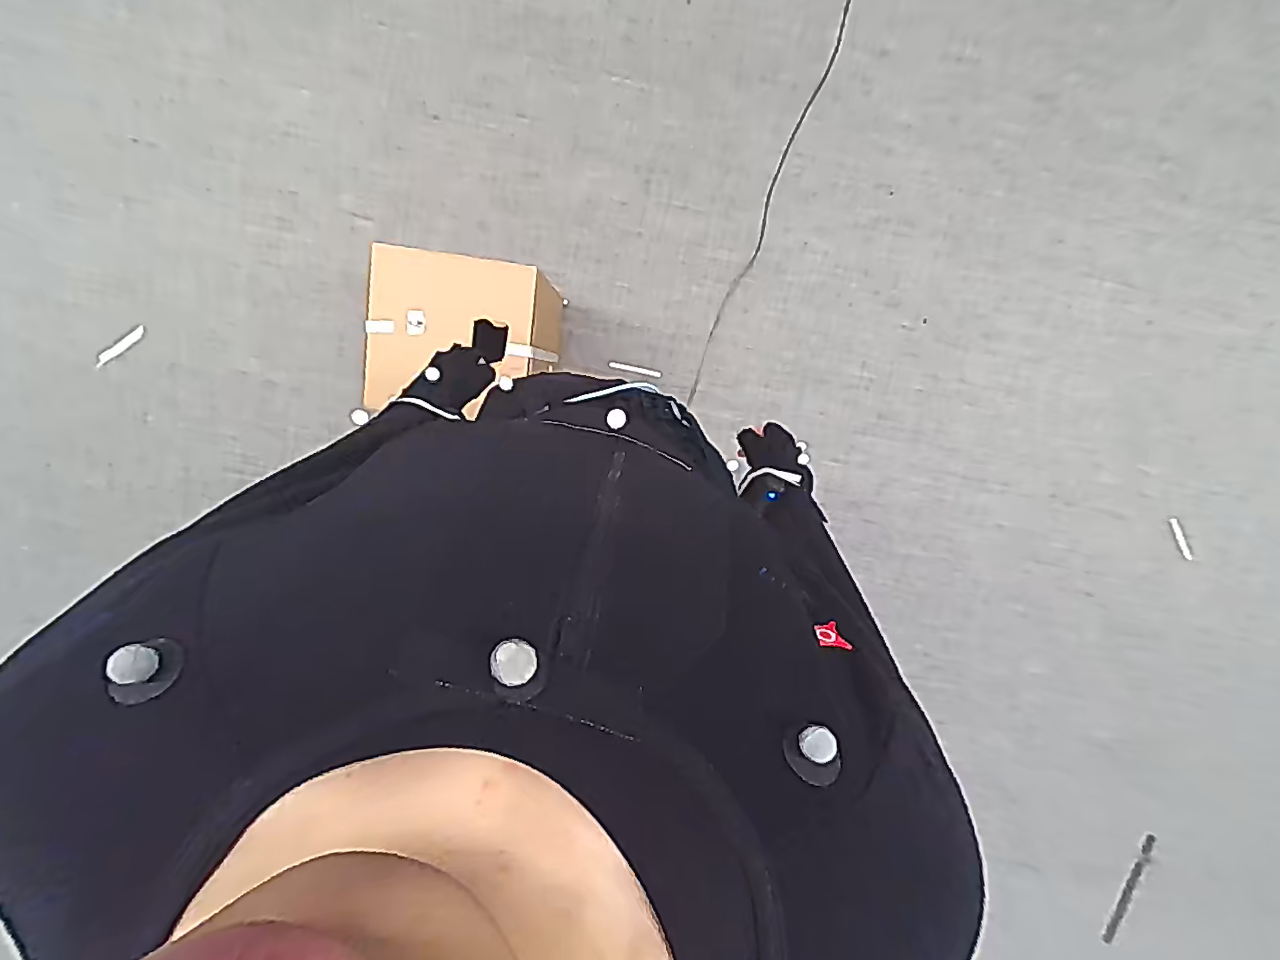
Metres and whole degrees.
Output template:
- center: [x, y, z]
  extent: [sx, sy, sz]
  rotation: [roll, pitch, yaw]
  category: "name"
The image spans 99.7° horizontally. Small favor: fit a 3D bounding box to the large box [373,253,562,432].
- center: [-0.368, -0.304, 1.234]
  extent: [0.320, 0.408, 0.320]
  rotation: [8, 101, -3]
  category: "large box"
